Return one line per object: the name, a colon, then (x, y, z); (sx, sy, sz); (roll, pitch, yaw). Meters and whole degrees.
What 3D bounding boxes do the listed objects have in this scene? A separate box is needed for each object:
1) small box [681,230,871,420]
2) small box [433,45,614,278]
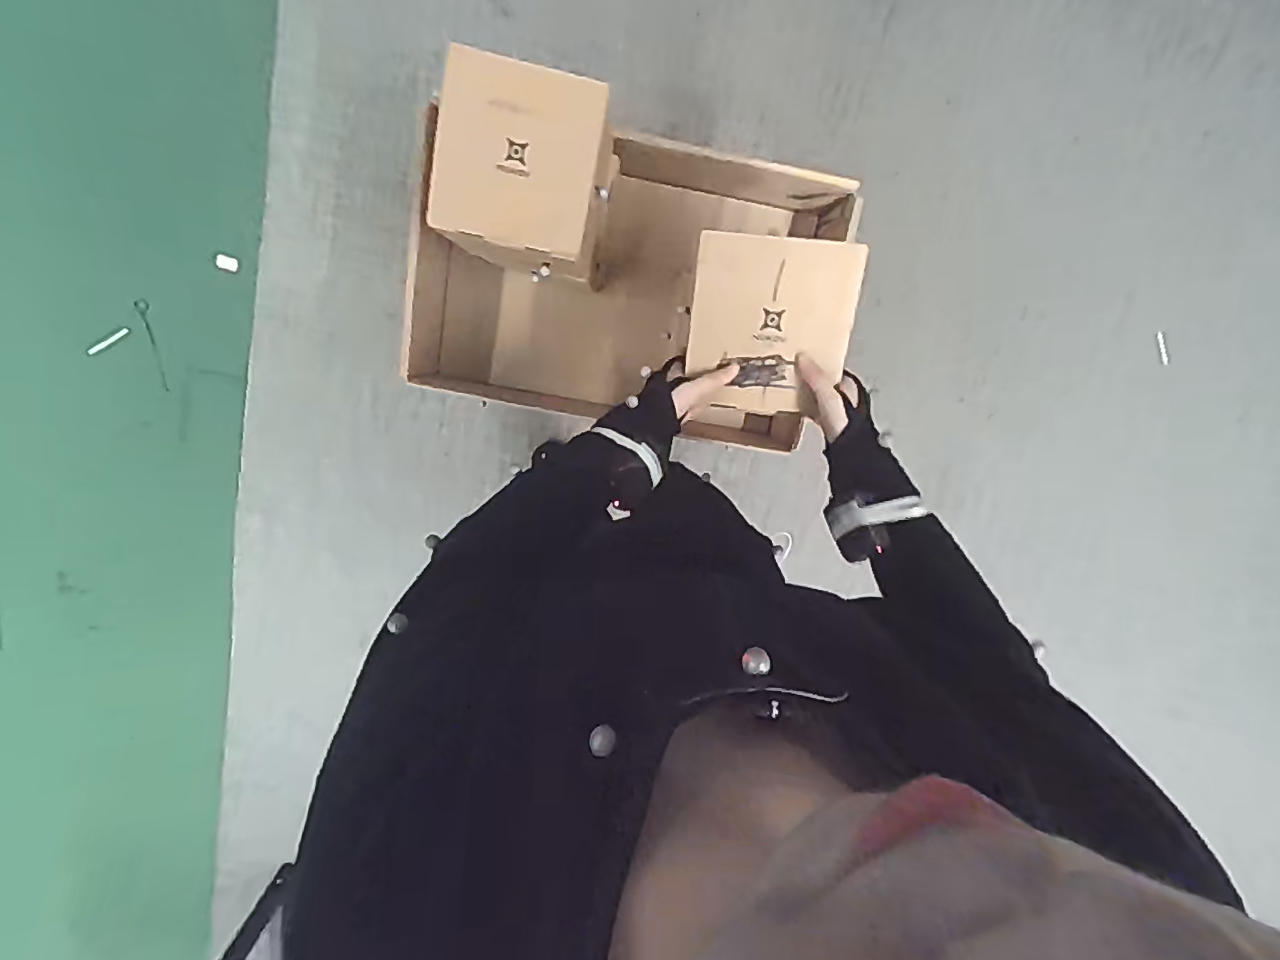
small box: (0.140, -0.181, 0.627); (0.168, 0.176, 0.179); (6, 110, 1)
small box: (-0.126, -0.353, 0.641); (0.168, 0.176, 0.179); (13, 102, -5)
